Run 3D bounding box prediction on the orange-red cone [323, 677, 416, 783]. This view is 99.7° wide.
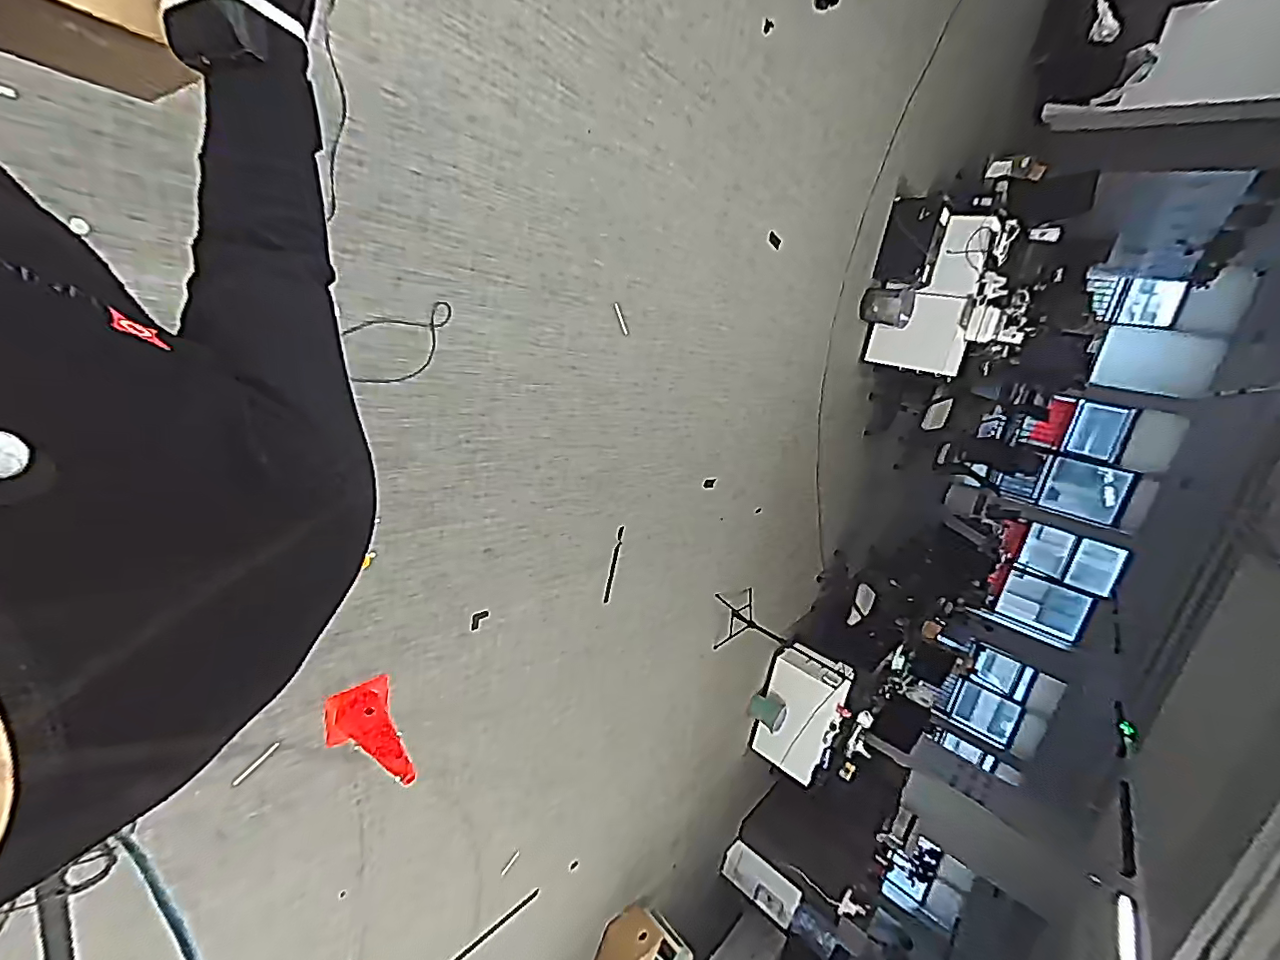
[{"bbox_3d":[-0.792,0.801,1.651,0.198,0.360,0.199,-12,116,-49],"label":"orange-red cone"}]

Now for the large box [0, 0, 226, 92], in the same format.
[{"bbox_3d":[-0.519,-0.488,0.299,0.408,0.320,0.320,-7,115,-50],"label":"large box"}]
